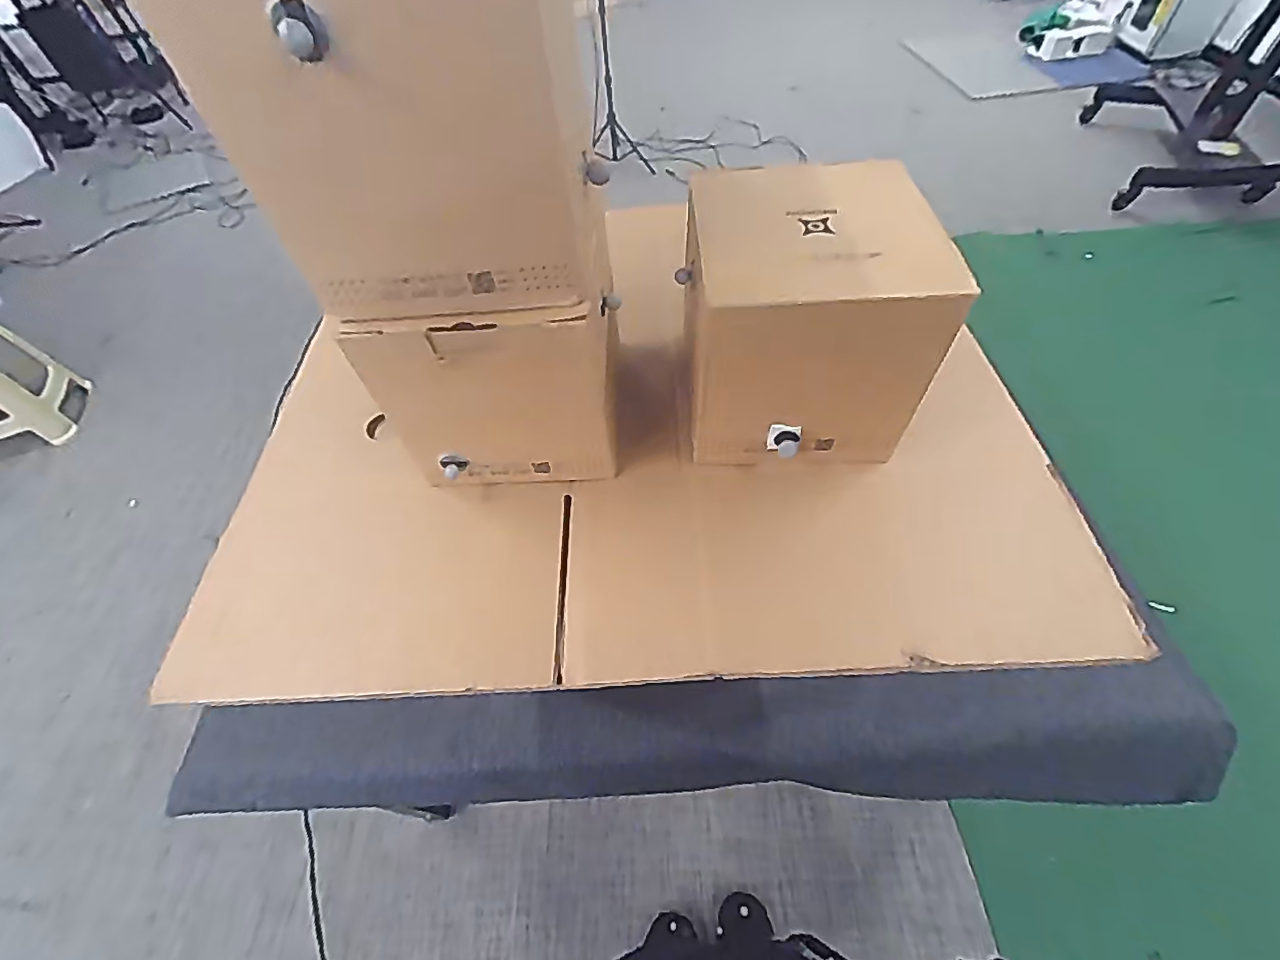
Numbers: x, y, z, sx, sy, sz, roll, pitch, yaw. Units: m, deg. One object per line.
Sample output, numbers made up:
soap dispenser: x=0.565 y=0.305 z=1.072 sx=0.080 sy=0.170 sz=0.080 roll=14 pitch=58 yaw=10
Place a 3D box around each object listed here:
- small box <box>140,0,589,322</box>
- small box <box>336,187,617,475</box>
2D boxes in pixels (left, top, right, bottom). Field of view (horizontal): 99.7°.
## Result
small box: x=-0.125 y=-0.220 z=0.330 sx=0.168 sy=0.176 sz=0.179 roll=-4 pitch=54 yaw=2
small box: x=-0.110 y=-0.115 z=0.455 sx=0.168 sy=0.176 sz=0.179 roll=-2 pitch=54 yaw=3
